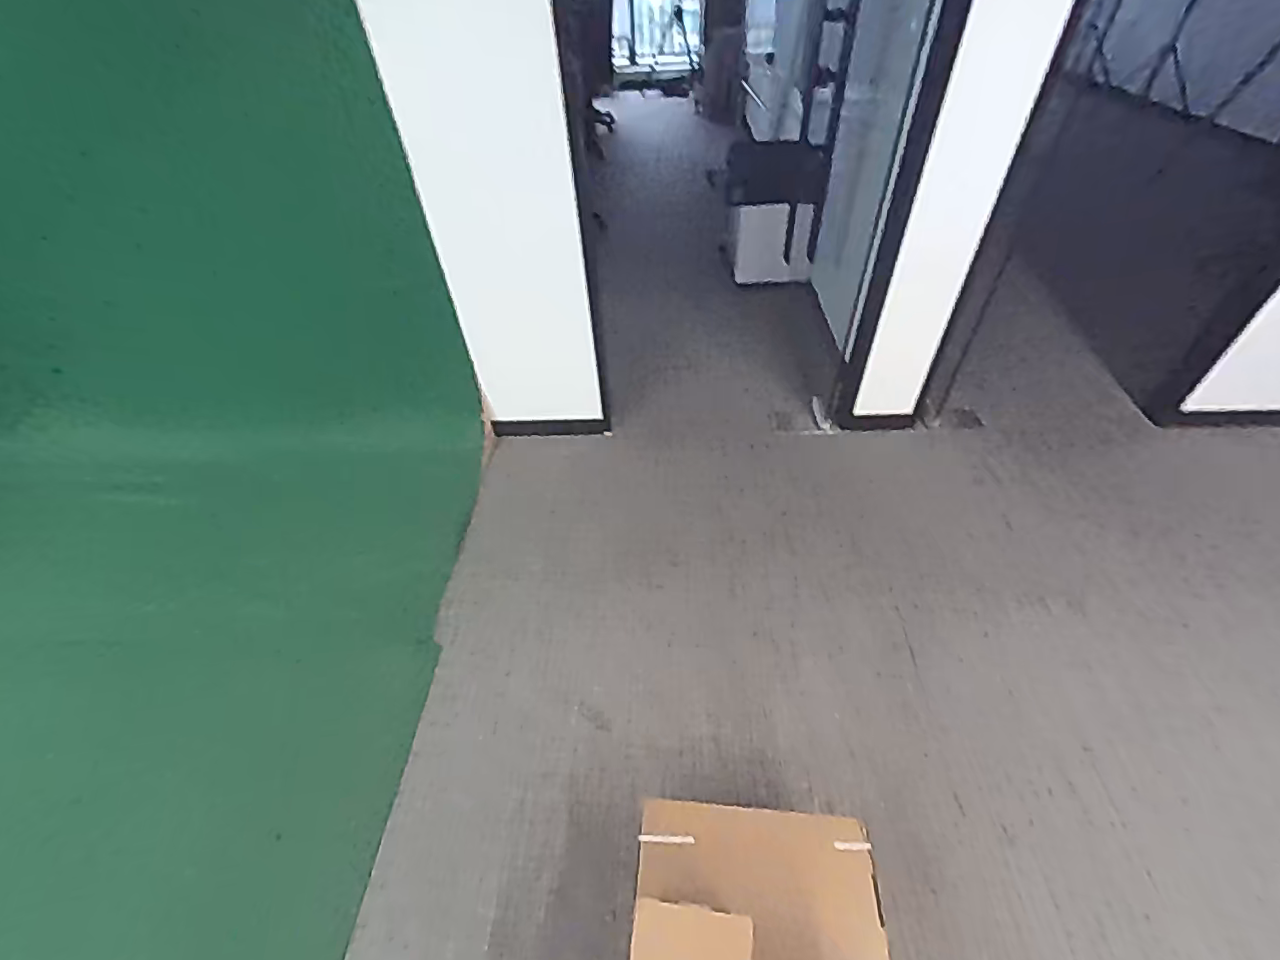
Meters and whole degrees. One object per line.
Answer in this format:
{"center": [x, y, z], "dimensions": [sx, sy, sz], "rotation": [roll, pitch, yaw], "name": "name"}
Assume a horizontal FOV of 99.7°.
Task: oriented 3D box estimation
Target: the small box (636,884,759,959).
{"center": [0.078, 0.710, 0.767], "dimensions": [0.168, 0.176, 0.179], "rotation": [3, 44, 9], "name": "small box"}
